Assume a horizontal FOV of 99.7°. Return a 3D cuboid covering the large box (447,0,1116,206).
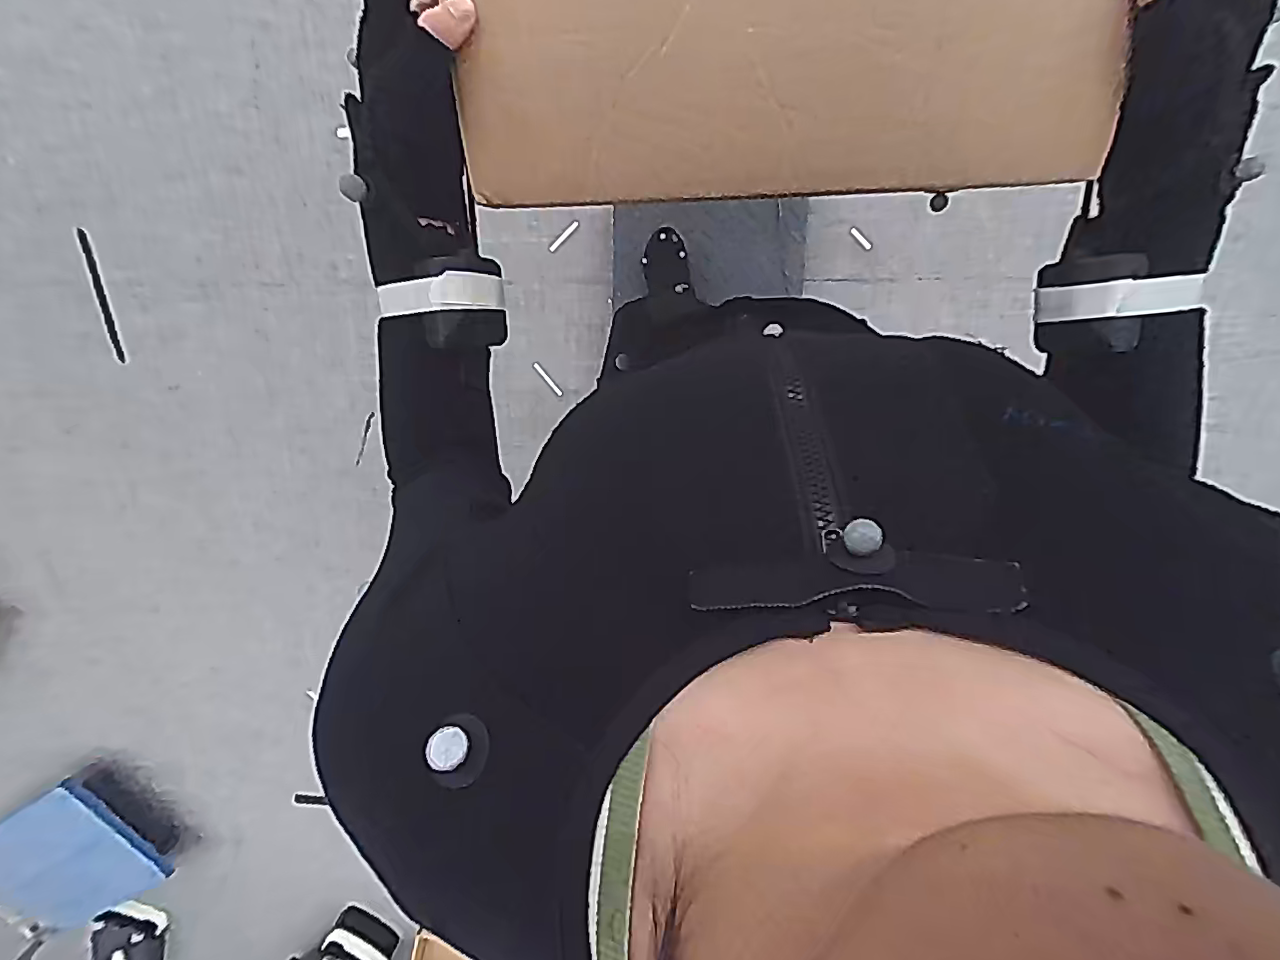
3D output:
[{"bbox_3d":[0.088,-0.408,0.426,0.408,0.320,0.320,0,119,5],"label":"large box"}]
